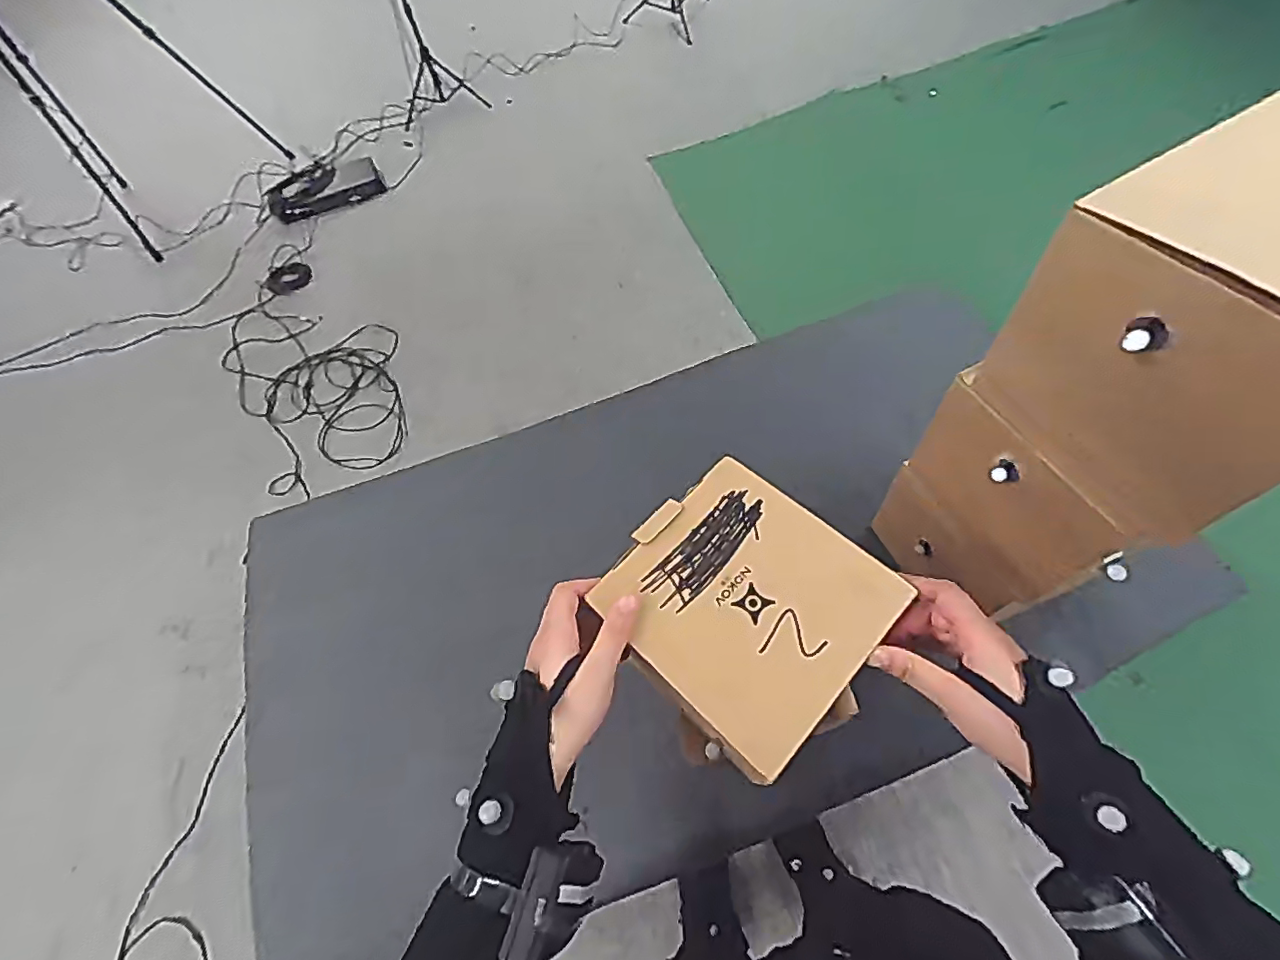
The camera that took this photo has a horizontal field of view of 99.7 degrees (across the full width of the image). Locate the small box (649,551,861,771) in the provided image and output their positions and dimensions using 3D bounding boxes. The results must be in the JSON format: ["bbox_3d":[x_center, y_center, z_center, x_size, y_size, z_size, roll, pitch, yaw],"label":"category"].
[{"bbox_3d":[0.113,0.205,0.597,0.168,0.176,0.179,-15,59,0],"label":"small box"}]

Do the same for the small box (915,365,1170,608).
[{"bbox_3d":[0.389,-0.012,0.490,0.168,0.176,0.179,-26,60,-5],"label":"small box"}]

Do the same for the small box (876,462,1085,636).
[{"bbox_3d":[0.409,0.065,0.631,0.168,0.176,0.179,-22,58,-4],"label":"small box"}]

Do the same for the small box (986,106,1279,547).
[{"bbox_3d":[0.371,-0.088,0.344,0.168,0.176,0.179,-29,59,-6],"label":"small box"}]
